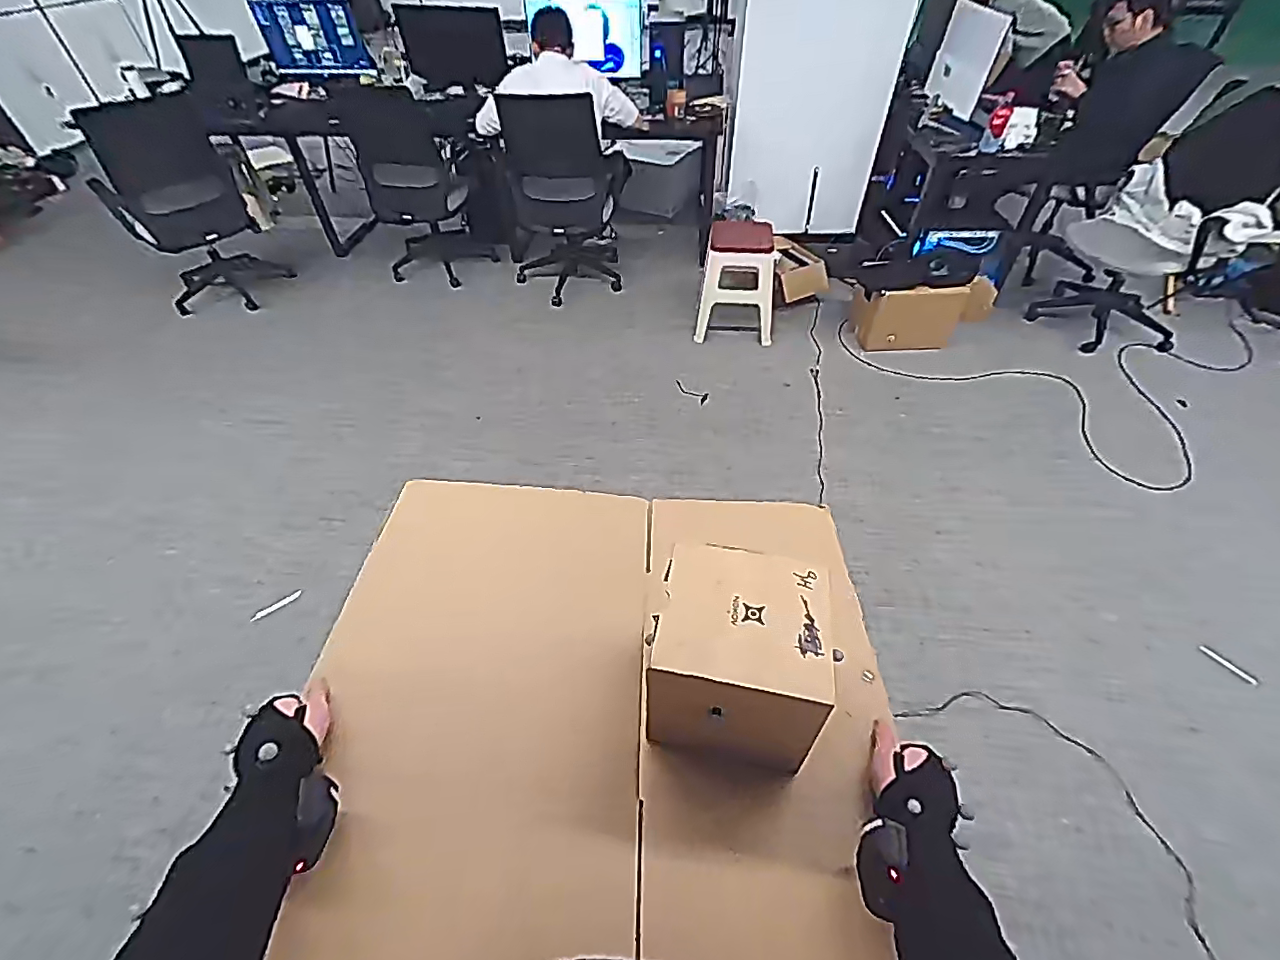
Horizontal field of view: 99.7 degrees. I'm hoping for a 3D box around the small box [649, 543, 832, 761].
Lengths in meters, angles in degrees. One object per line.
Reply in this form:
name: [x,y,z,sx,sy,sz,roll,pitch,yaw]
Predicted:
small box: [0.111,0.198,0.621,0.179,0.176,0.168,7,44,9]
